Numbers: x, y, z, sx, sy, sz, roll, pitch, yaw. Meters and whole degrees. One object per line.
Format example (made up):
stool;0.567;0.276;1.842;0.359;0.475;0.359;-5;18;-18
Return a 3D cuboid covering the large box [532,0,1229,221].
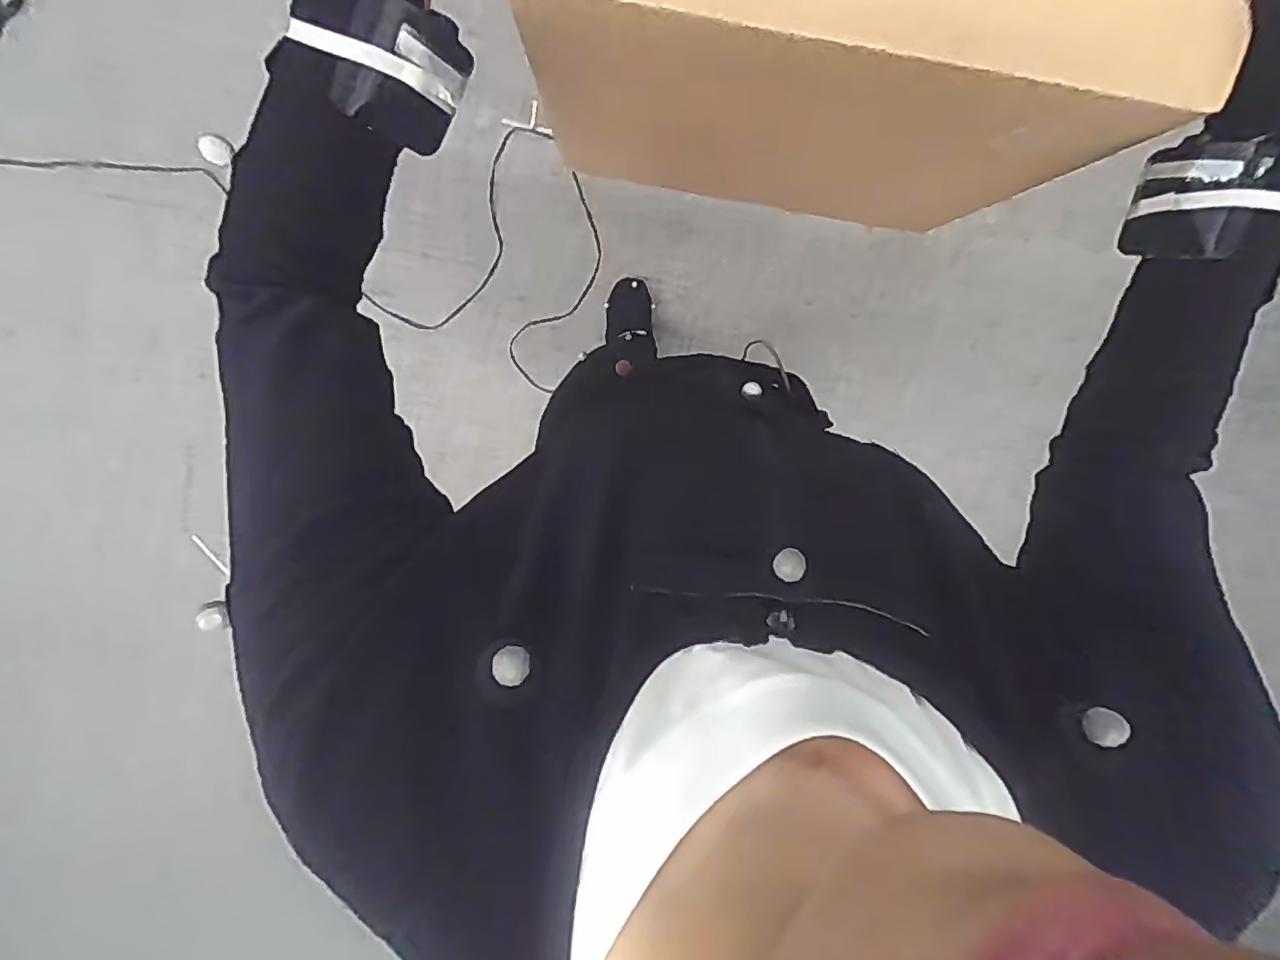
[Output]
large box;0.143;-0.426;0.417;0.408;0.320;0.320;7;103;-4
